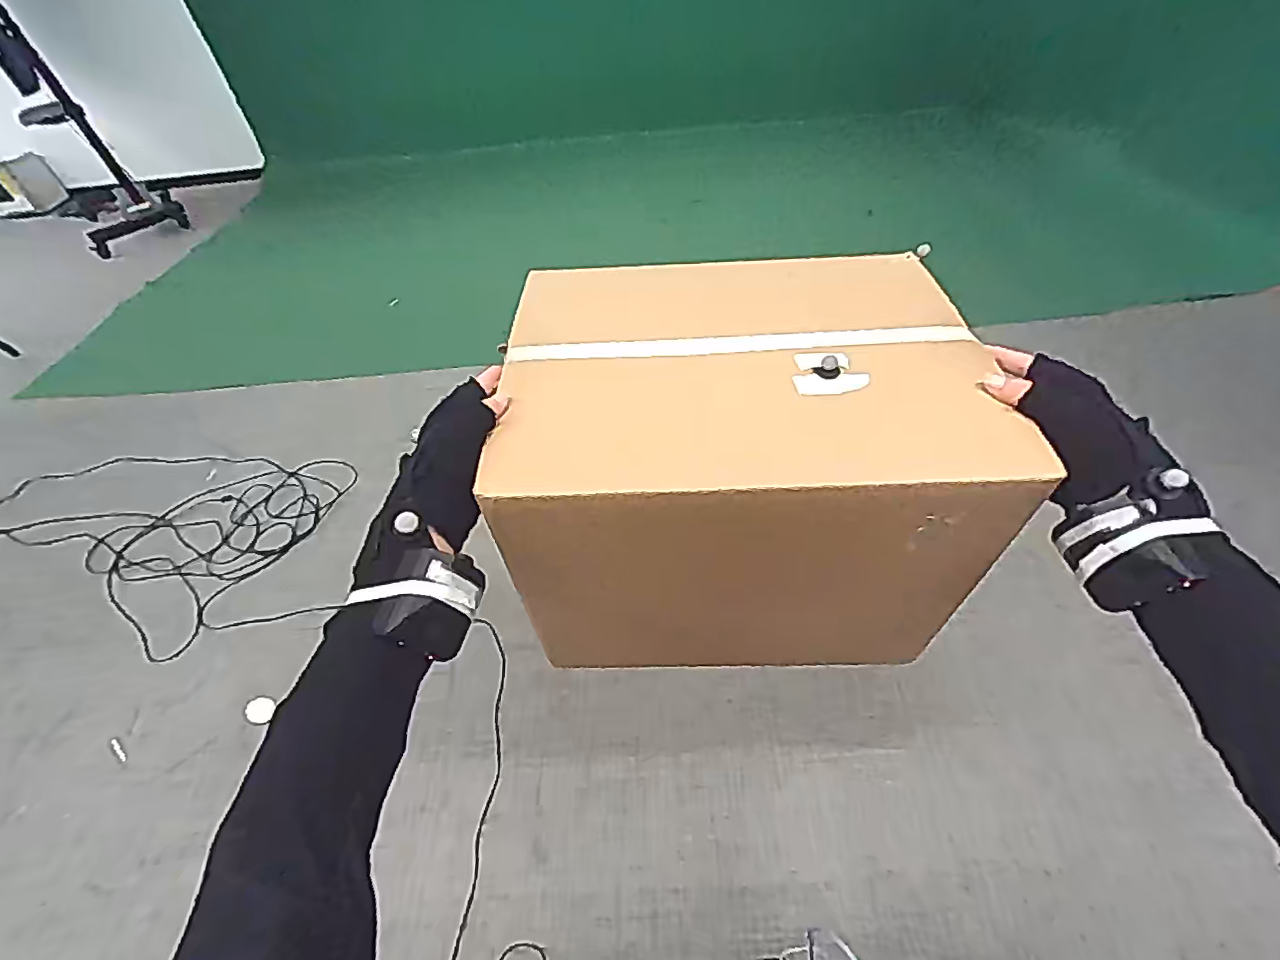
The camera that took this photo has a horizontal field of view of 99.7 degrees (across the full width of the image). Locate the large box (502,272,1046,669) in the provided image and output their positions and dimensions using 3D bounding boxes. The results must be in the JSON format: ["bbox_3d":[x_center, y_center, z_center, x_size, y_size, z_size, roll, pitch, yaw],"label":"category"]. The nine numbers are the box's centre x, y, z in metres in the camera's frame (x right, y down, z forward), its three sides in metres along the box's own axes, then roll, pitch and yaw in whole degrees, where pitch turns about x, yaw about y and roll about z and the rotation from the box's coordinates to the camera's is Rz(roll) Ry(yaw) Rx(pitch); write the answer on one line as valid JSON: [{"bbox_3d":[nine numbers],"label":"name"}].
[{"bbox_3d":[0.097,-0.004,0.596,0.408,0.320,0.320,-2,49,1],"label":"large box"}]
